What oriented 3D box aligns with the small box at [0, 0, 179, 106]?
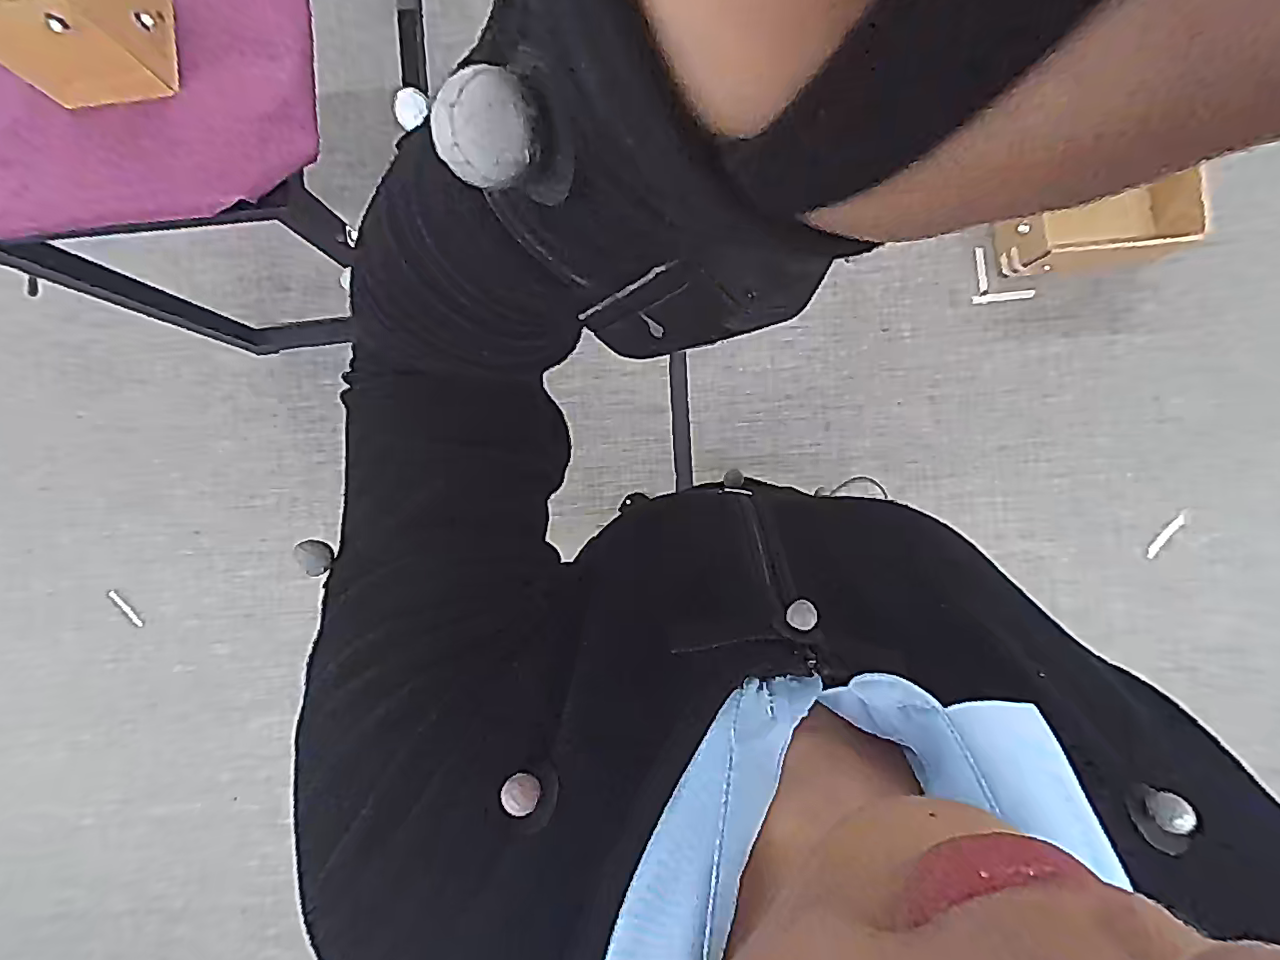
[{"bbox_3d":[-0.786,-0.649,0.737,0.179,0.176,0.168,-7,87,1],"label":"small box"}]
